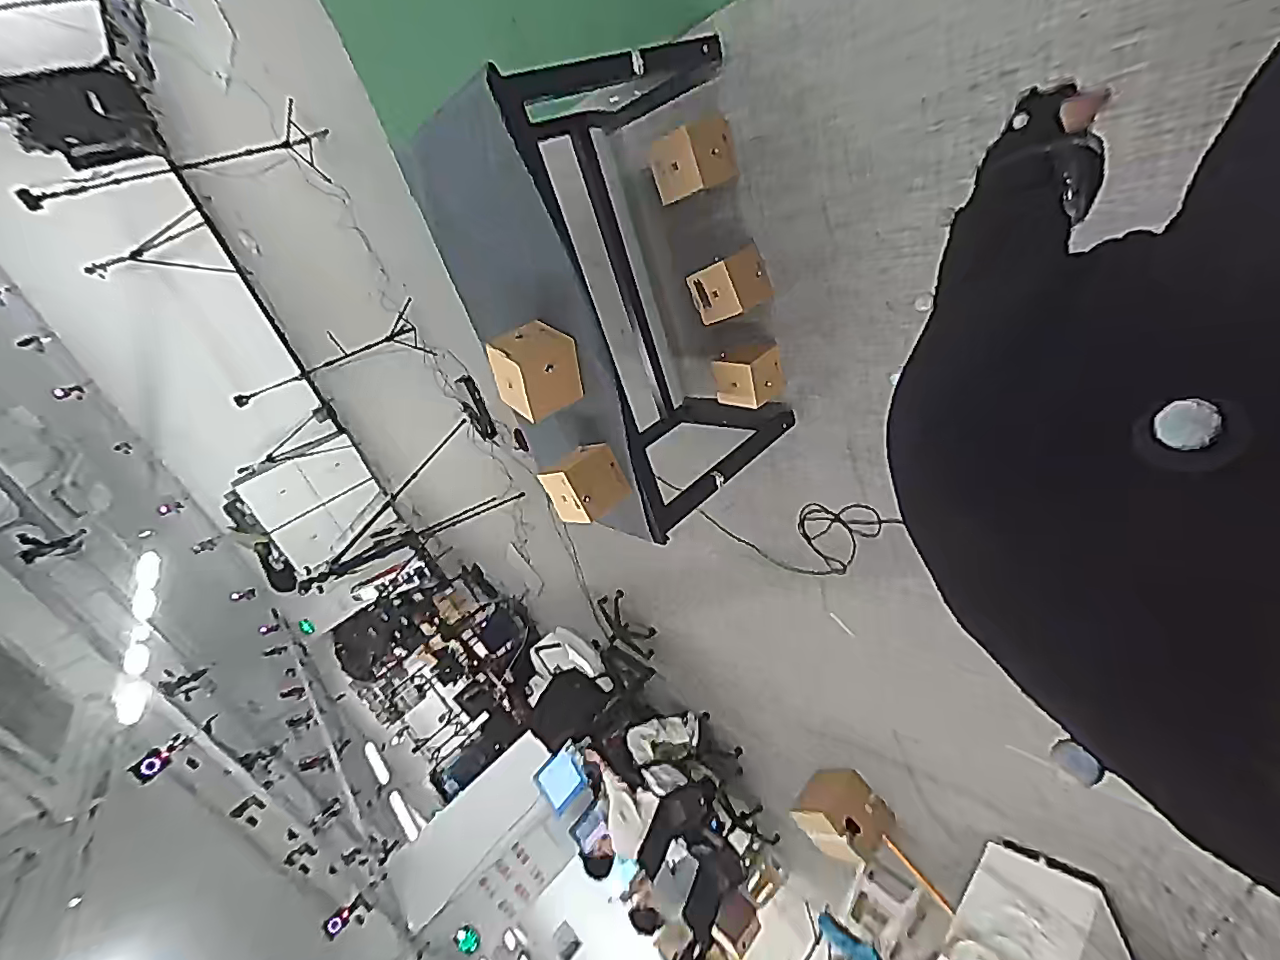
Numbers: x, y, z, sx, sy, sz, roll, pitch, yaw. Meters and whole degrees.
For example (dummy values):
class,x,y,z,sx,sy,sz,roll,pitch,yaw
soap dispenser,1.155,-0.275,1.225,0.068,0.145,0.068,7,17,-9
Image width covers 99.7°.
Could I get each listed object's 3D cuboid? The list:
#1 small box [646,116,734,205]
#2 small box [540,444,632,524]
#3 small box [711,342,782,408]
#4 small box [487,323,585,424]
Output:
class,x,y,z,sx,sy,sz,roll,pitch,yaw
small box,0.155,-0.941,1.594,0.179,0.176,0.168,8,128,51
small box,-0.153,0.009,1.561,0.179,0.176,0.168,-2,119,55
small box,0.380,-0.371,1.889,0.179,0.176,0.168,19,137,46
small box,-0.264,-0.283,1.409,0.168,0.176,0.179,35,147,35
